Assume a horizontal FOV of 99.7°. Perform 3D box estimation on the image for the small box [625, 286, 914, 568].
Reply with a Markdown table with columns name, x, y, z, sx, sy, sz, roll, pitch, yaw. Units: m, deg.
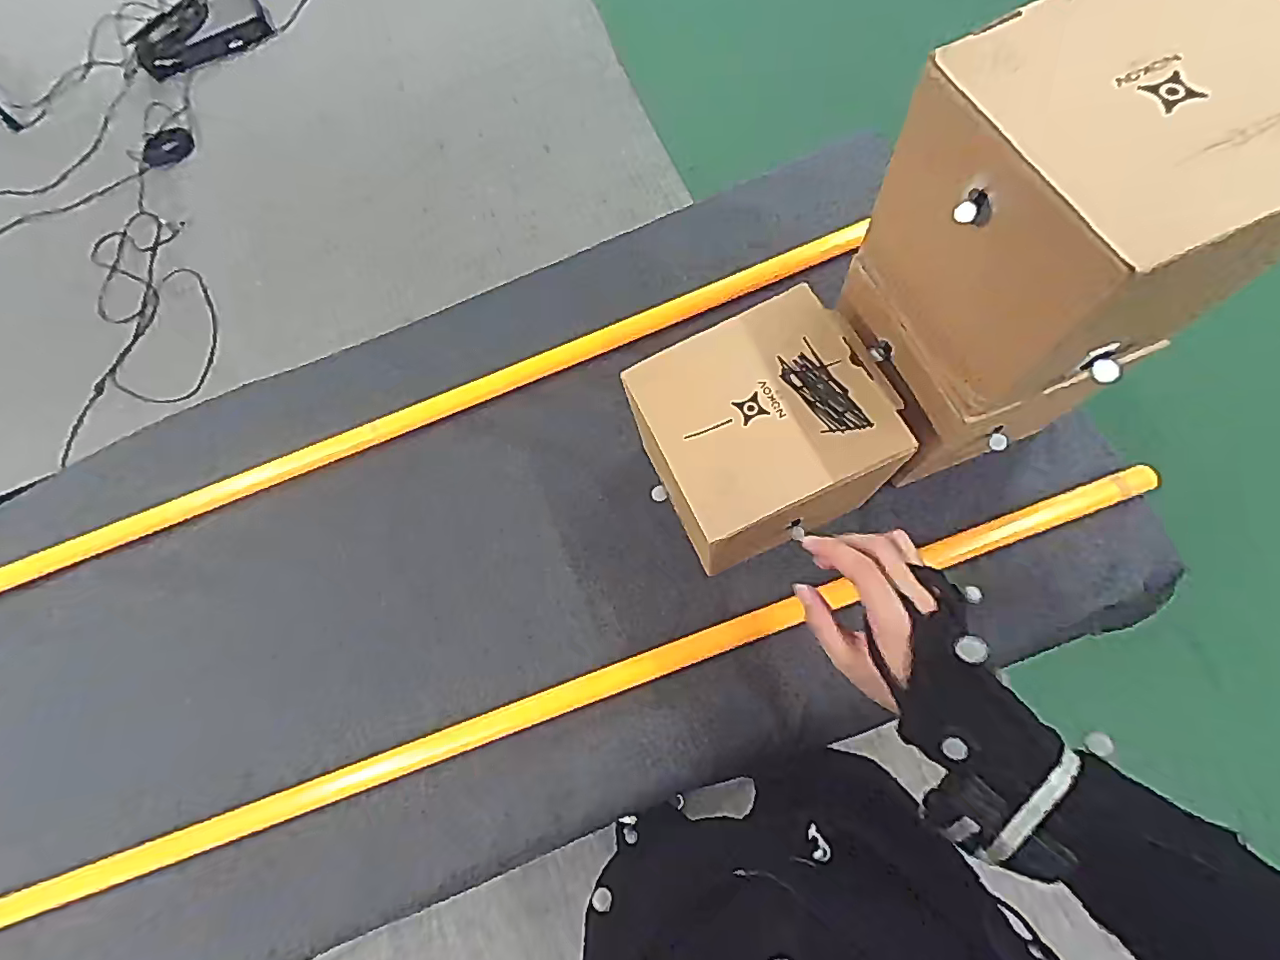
| name | x | y | z | sx | sy | sz | roll | pitch | yaw |
| --- | --- | --- | --- | --- | --- | --- | --- | --- | --- |
| small box | 0.105 | -0.035 | 0.501 | 0.179 | 0.176 | 0.168 | -25 | 70 | 0 |

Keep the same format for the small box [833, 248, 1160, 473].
| name | x | y | z | sx | sy | sz | roll | pitch | yaw |
| --- | --- | --- | --- | --- | --- | --- | --- | --- | --- |
| small box | 0.297 | -0.122 | 0.506 | 0.168 | 0.176 | 0.179 | -22 | 70 | 0 |

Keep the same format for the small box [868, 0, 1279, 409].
| name | x | y | z | sx | sy | sz | roll | pitch | yaw |
| --- | --- | --- | --- | --- | --- | --- | --- | --- | --- |
| small box | 0.280 | -0.177 | 0.354 | 0.168 | 0.176 | 0.179 | -24 | 70 | 1 |
